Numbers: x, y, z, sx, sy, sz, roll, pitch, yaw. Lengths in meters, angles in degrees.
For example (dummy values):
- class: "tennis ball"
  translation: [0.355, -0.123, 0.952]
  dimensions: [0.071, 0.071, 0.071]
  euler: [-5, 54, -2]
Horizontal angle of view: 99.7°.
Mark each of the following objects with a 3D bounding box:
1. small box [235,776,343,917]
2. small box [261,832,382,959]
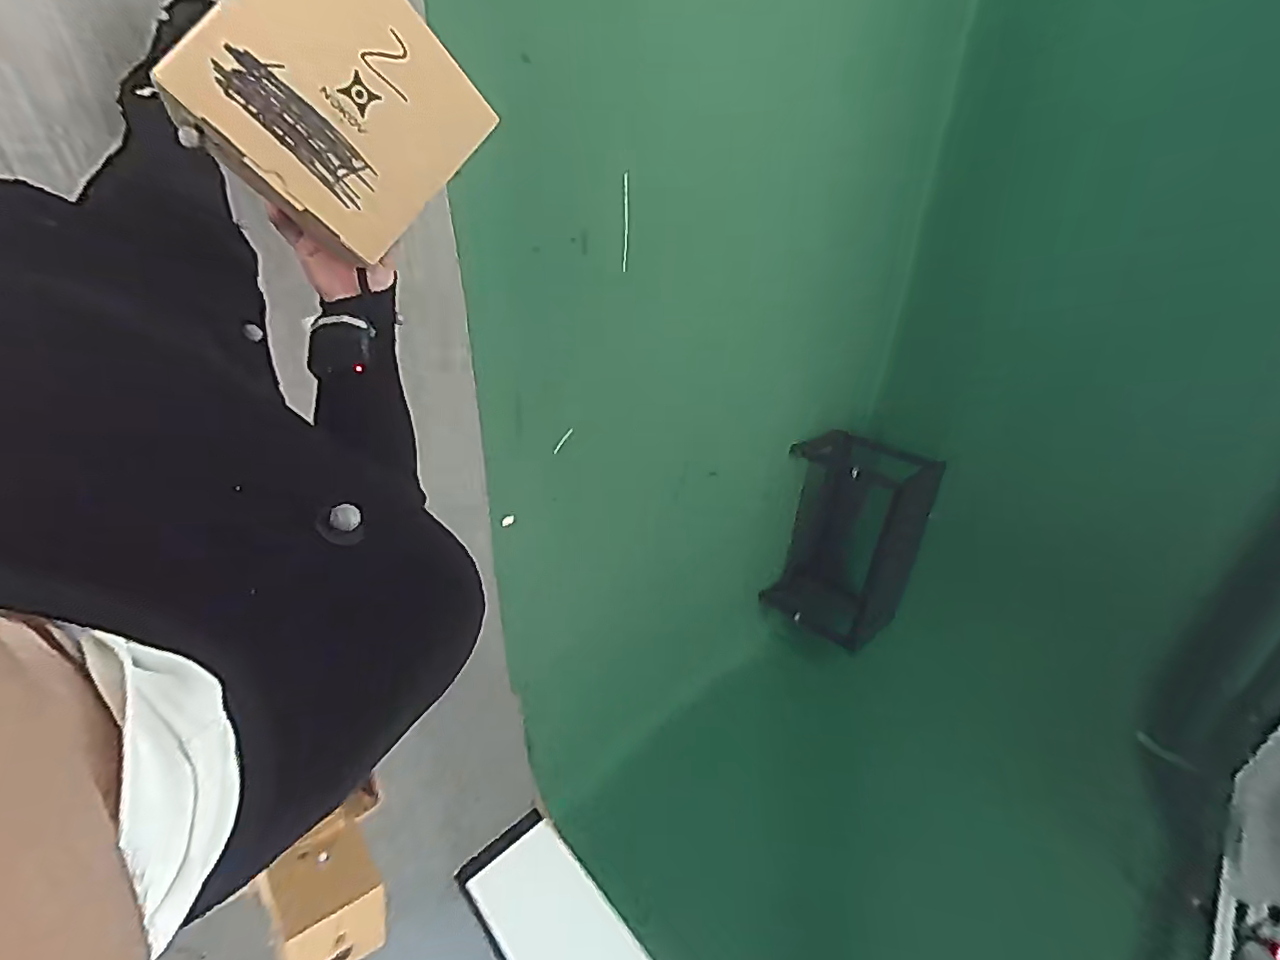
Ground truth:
- class: "small box"
  translation: [-0.729, 0.781, 1.147]
  dimensions: [0.168, 0.176, 0.179]
  euler: [-21, 123, -38]
- class: "small box"
  translation: [-0.614, 0.839, 1.044]
  dimensions: [0.168, 0.176, 0.179]
  euler: [-10, 115, -43]
